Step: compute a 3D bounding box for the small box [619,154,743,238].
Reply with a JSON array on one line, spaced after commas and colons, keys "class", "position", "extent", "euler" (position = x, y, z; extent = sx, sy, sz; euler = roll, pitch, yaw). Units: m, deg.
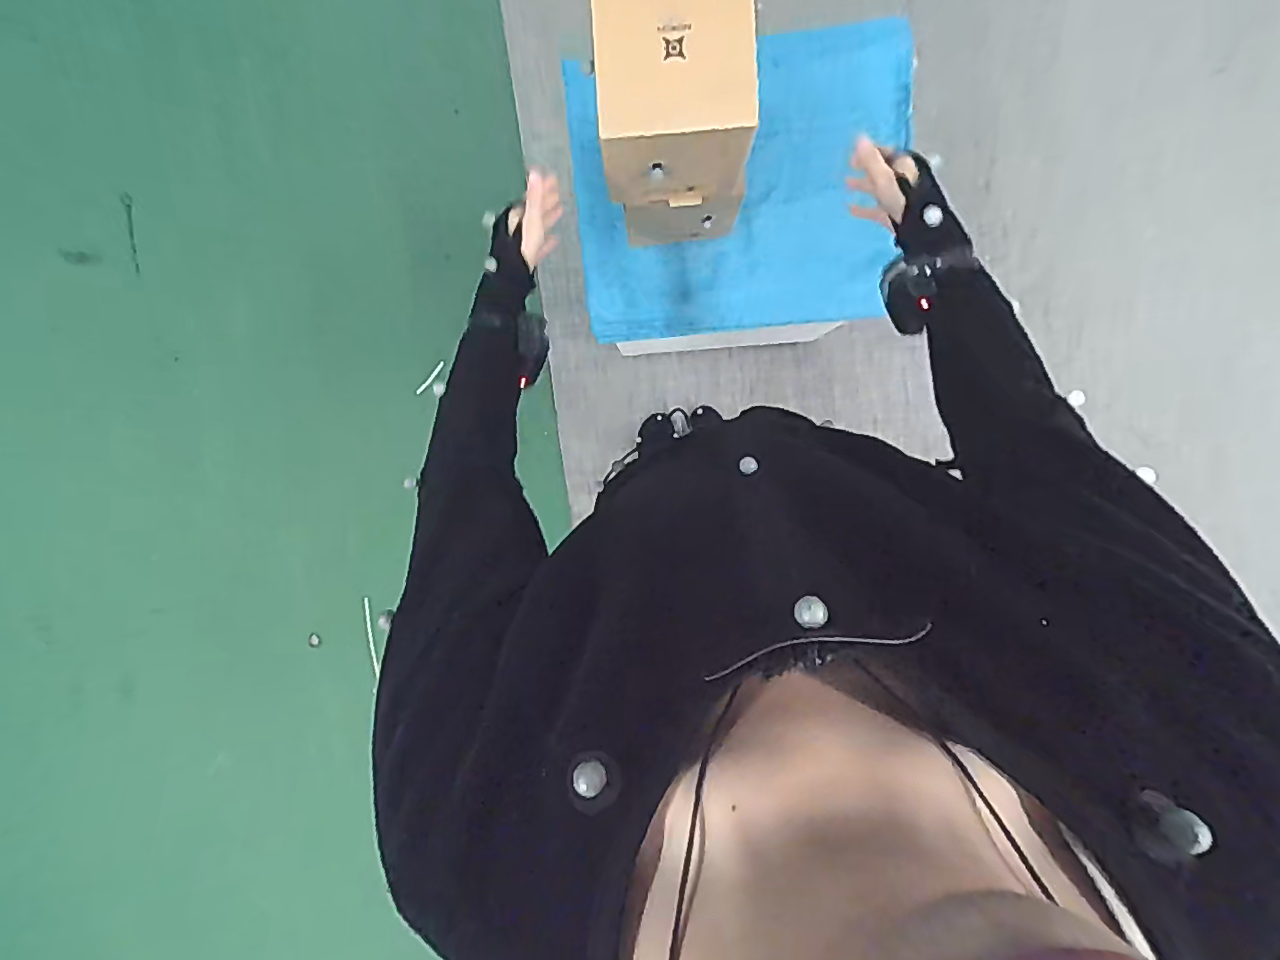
[{"class": "small box", "position": [0.052, -0.463, 0.777], "extent": [0.168, 0.176, 0.179], "euler": [-4, 95, 2]}]

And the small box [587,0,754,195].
[{"class": "small box", "position": [0.034, -0.446, 0.617], "extent": [0.168, 0.176, 0.179], "euler": [-3, 94, 2]}]
